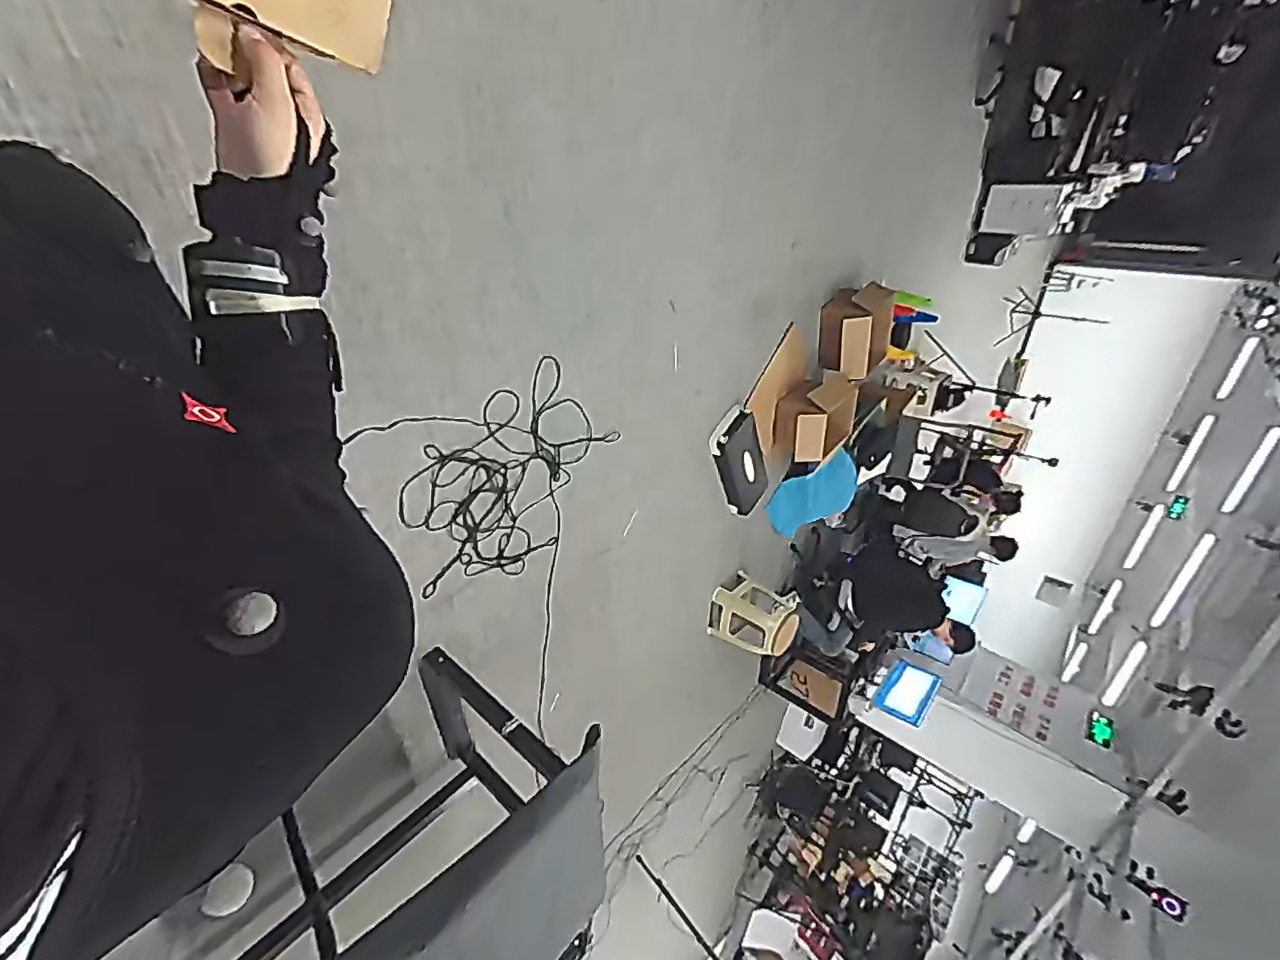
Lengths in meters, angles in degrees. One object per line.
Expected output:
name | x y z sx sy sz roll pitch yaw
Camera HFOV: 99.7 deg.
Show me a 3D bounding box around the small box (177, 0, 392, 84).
small box | -0.264 -0.399 0.341 0.168 0.176 0.179 -7 131 -48
